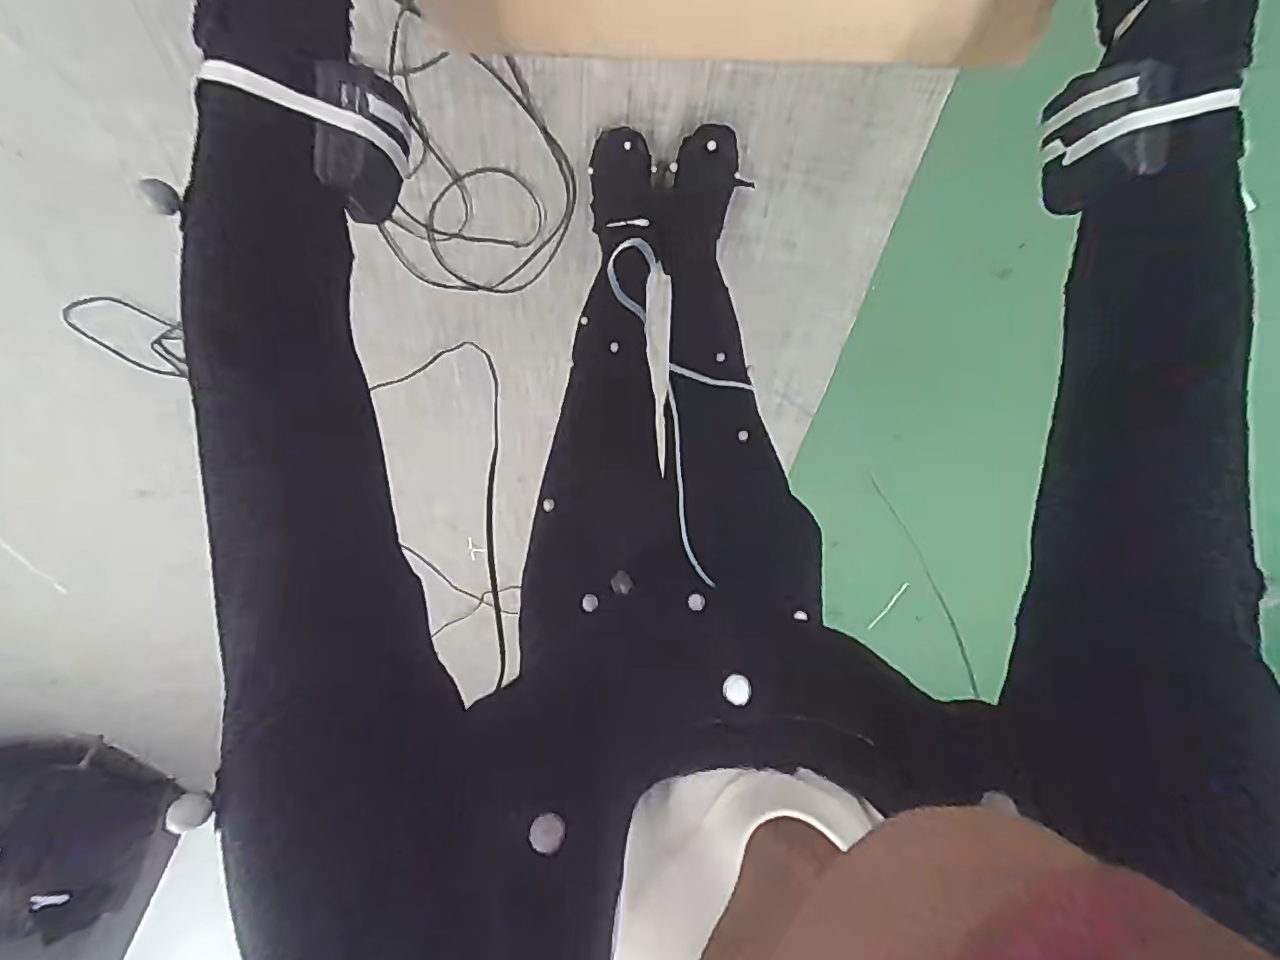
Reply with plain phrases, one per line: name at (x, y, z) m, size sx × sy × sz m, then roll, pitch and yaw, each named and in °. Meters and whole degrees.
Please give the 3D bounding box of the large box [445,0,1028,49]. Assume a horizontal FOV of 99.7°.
large box at (0.061, -0.518, 0.375) m, size 0.408 × 0.320 × 0.320 m, roll -1°, pitch 136°, yaw -3°
